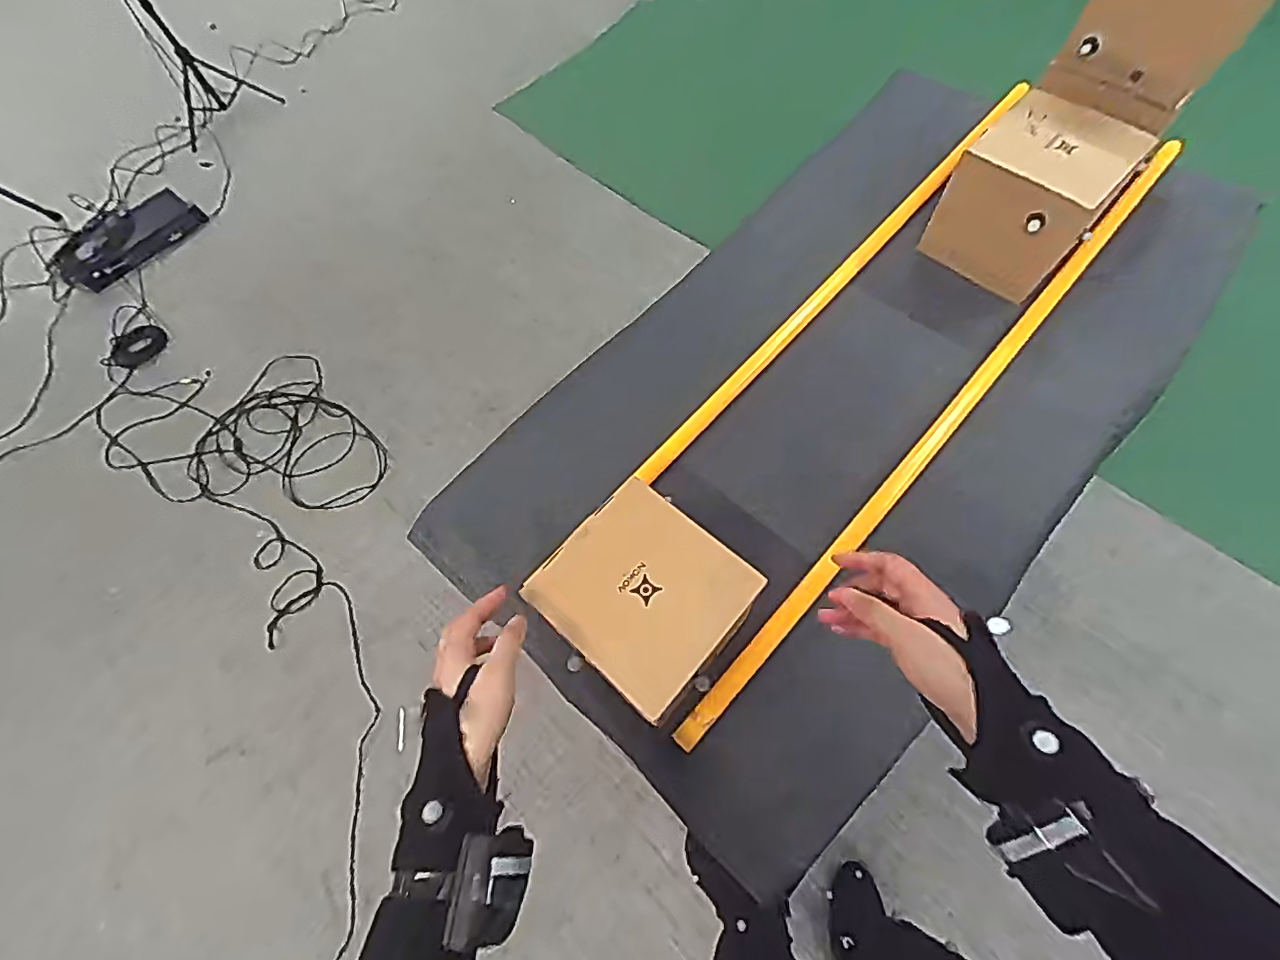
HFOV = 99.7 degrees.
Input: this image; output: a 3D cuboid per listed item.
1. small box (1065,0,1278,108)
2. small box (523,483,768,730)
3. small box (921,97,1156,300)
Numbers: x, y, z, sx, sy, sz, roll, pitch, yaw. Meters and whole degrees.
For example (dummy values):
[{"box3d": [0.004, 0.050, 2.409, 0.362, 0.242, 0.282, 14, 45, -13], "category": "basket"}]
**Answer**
[{"box3d": [0.691, -0.614, 0.678, 0.179, 0.176, 0.168, -41, 69, -13], "category": "small box"}, {"box3d": [0.010, 0.140, 0.581, 0.179, 0.176, 0.168, 38, 72, 20], "category": "small box"}, {"box3d": [0.548, -0.389, 0.772, 0.168, 0.176, 0.179, -43, 69, -14], "category": "small box"}]
